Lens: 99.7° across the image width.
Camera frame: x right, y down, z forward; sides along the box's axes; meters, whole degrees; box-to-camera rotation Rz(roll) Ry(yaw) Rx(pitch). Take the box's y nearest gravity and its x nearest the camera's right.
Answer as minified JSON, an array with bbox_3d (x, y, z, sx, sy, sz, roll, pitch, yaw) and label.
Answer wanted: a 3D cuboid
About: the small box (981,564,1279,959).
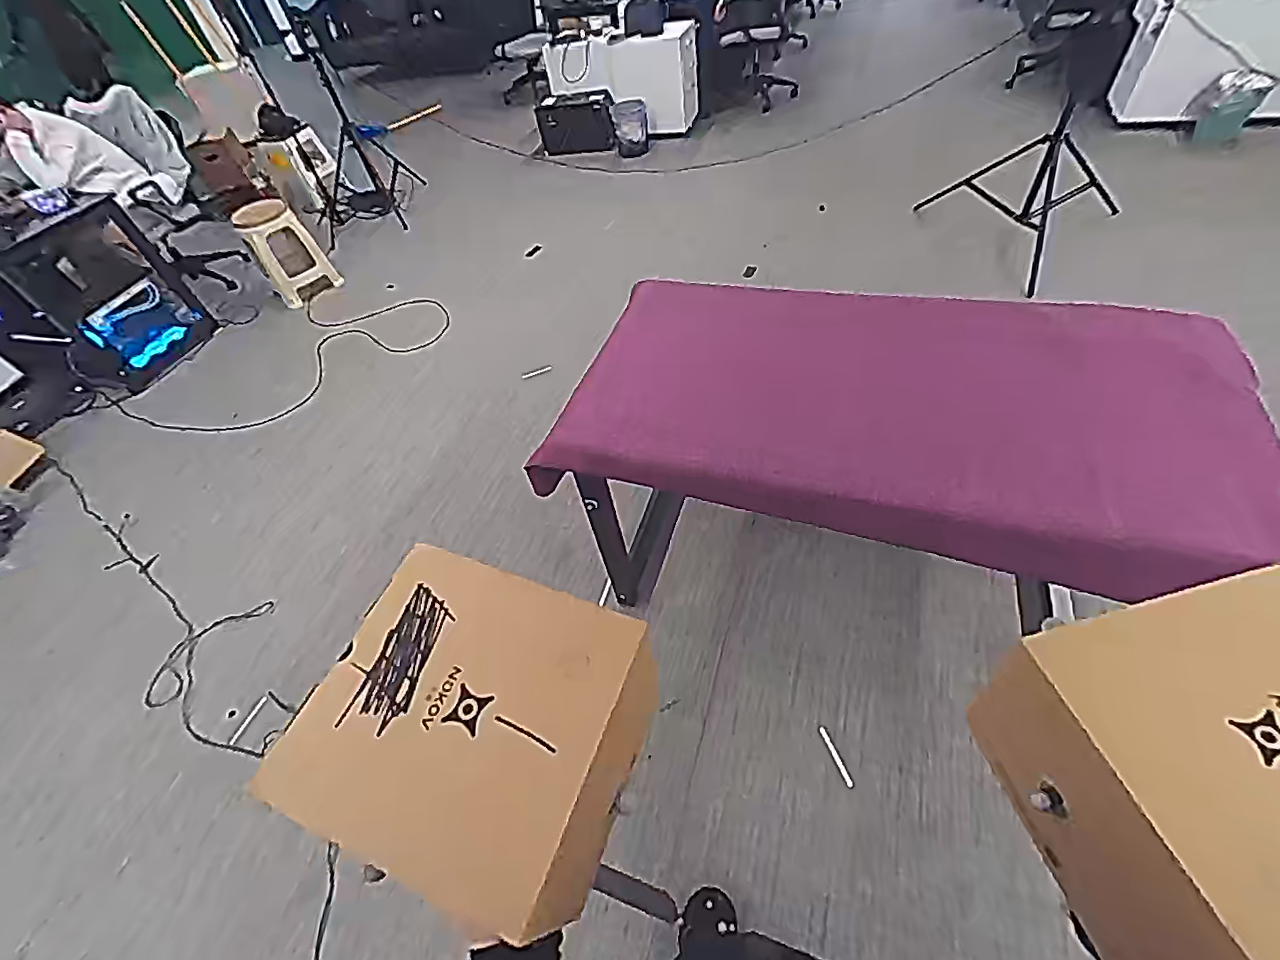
[{"bbox_3d":[0.353,0.183,0.344,0.179,0.176,0.168,-17,49,2],"label":"small box"}]

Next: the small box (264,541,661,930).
[{"bbox_3d":[-0.094,0.173,0.379,0.179,0.176,0.168,16,58,15],"label":"small box"}]
